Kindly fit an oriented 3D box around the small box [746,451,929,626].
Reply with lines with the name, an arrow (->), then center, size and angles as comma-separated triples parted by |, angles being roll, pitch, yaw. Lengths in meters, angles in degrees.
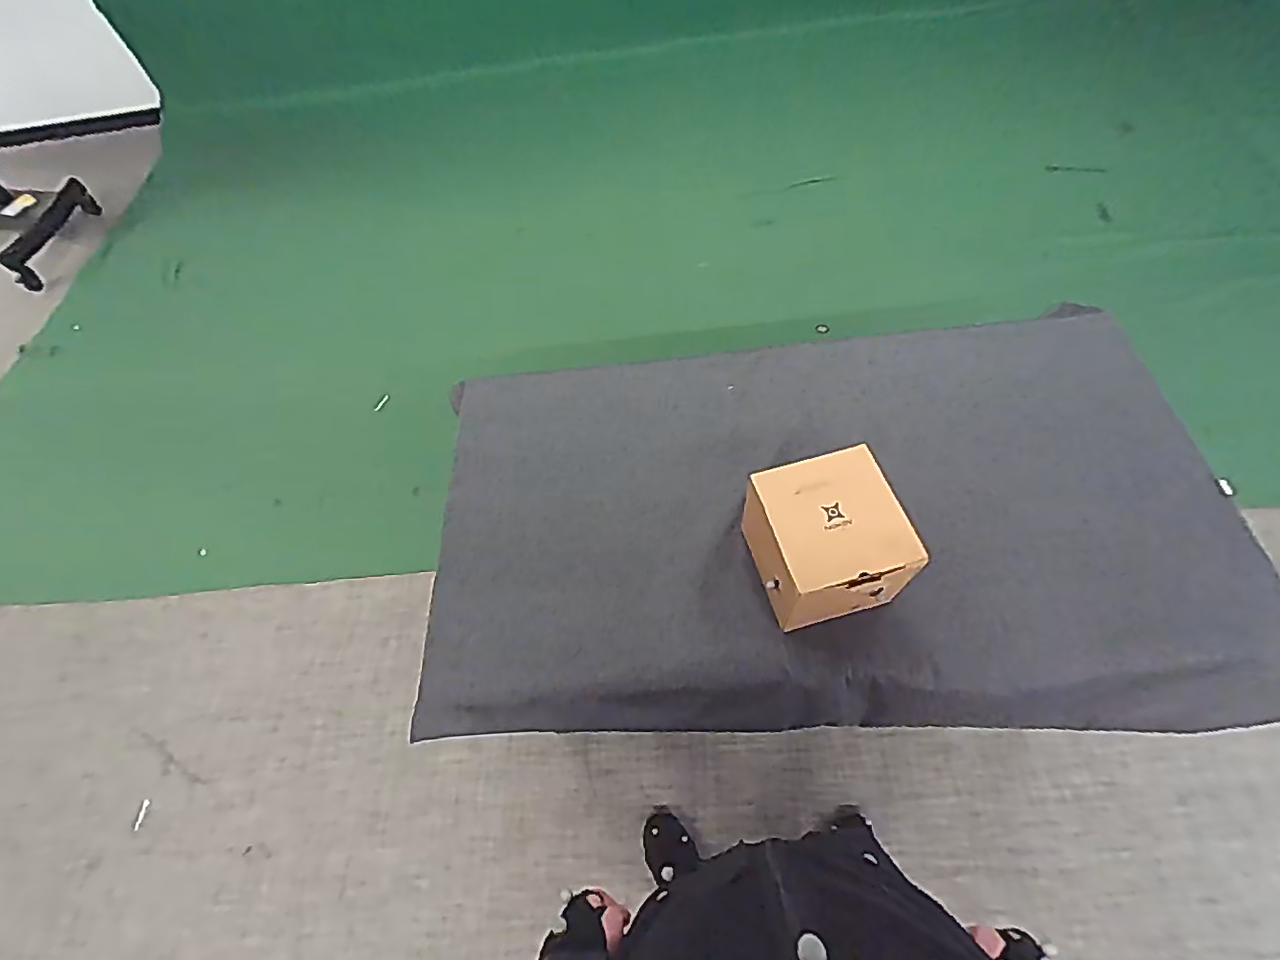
small box -> 0.257, 0.091, 0.754 | 0.168, 0.176, 0.179 | -15, 59, -4
